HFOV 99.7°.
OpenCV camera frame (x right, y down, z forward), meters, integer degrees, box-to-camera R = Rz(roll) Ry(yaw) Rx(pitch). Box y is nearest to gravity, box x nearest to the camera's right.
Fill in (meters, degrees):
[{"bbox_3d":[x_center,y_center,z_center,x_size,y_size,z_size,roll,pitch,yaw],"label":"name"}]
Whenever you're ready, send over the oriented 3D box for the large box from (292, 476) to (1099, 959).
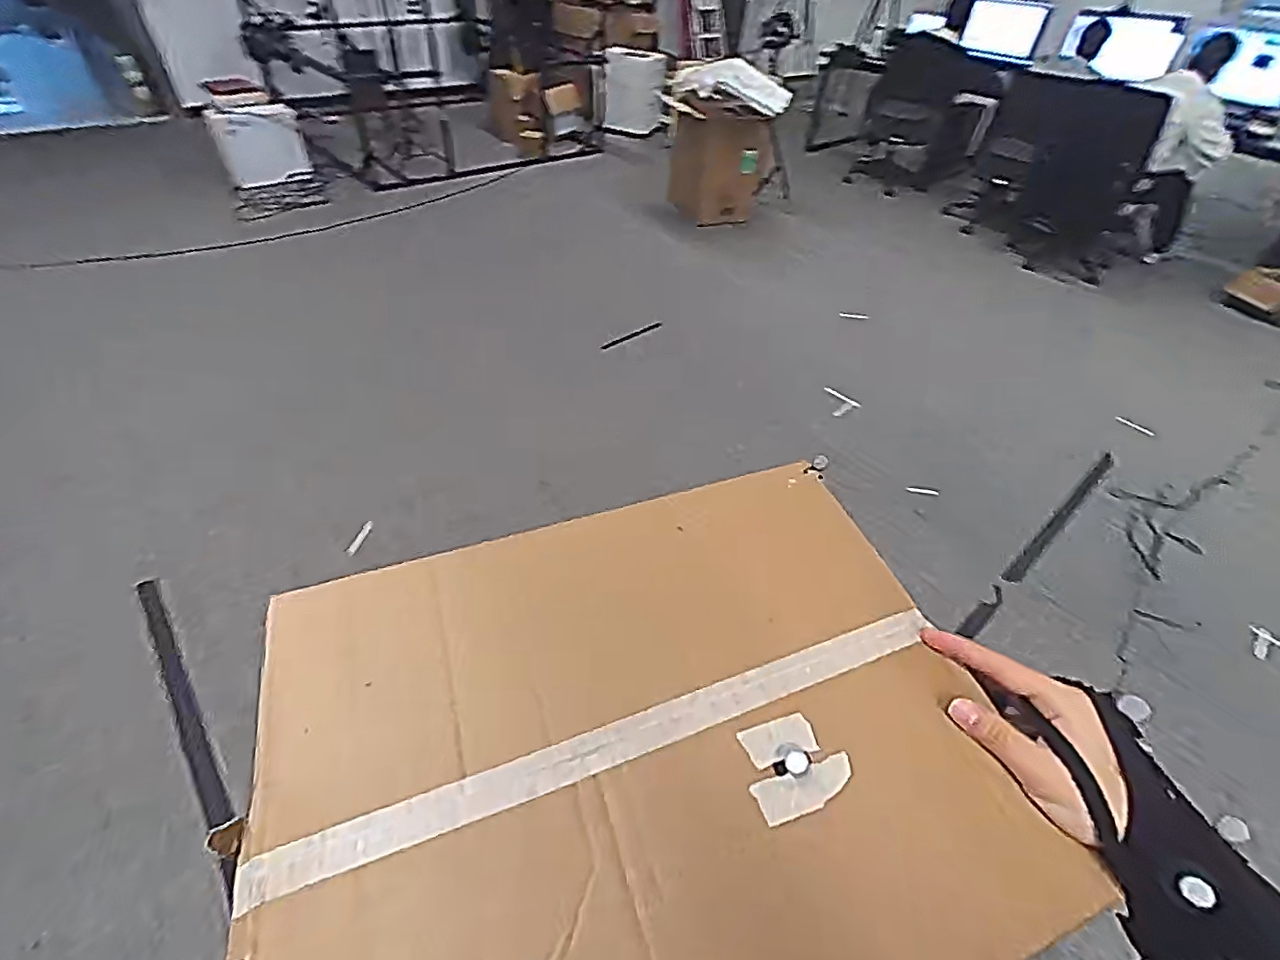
[{"bbox_3d":[0.001,0.248,0.434,0.408,0.320,0.320,-13,53,-16],"label":"large box"}]
